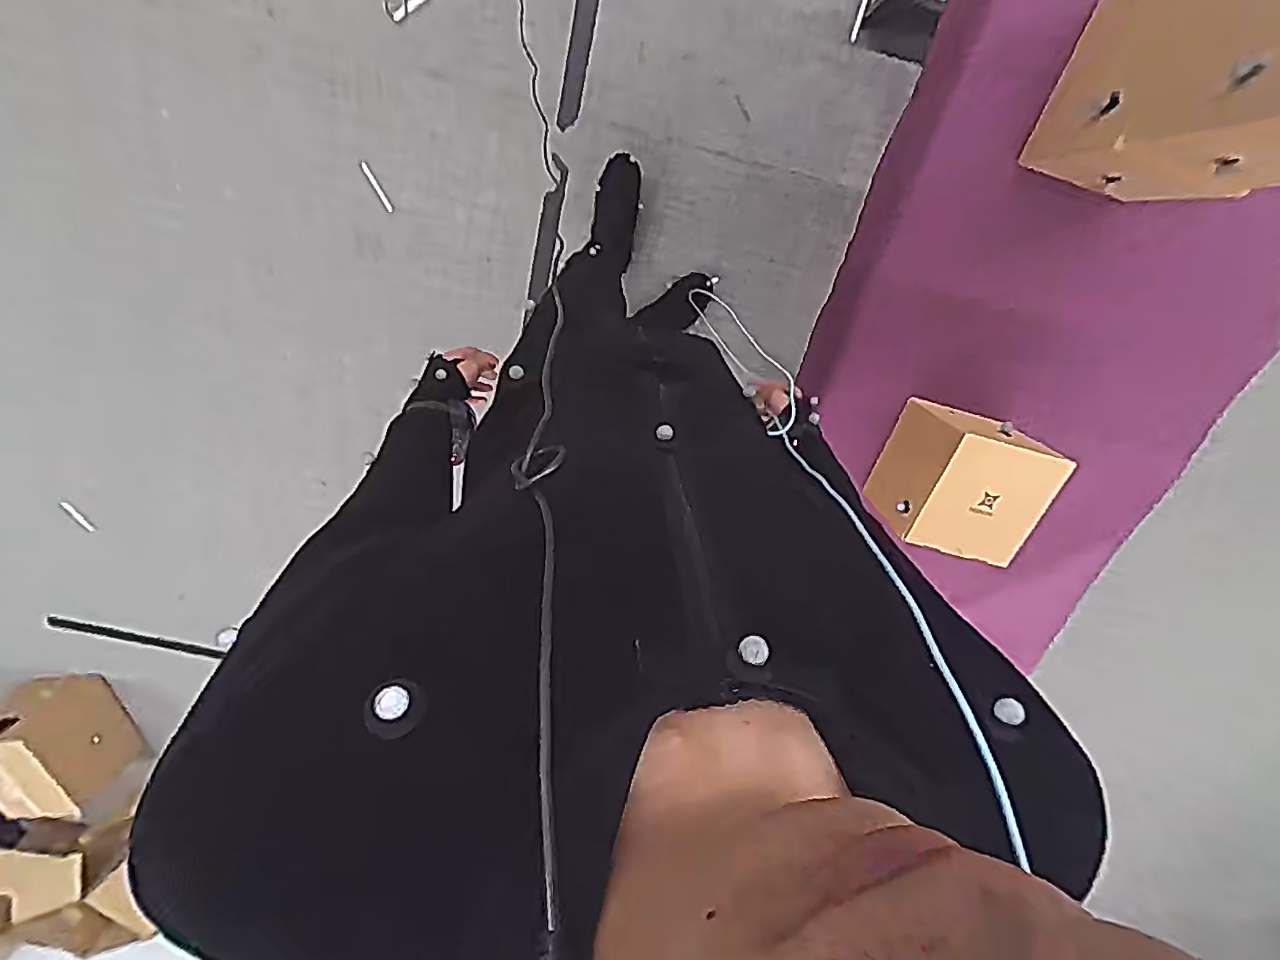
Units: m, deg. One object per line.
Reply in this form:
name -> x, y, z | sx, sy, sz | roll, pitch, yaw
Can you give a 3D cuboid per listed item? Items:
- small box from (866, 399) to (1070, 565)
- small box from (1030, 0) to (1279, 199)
small box -> 0.471, -0.004, 0.812 | 0.168, 0.176, 0.179 | 14, 116, -6
small box -> 0.587, -0.430, 0.601 | 0.168, 0.176, 0.179 | 15, 116, -6
